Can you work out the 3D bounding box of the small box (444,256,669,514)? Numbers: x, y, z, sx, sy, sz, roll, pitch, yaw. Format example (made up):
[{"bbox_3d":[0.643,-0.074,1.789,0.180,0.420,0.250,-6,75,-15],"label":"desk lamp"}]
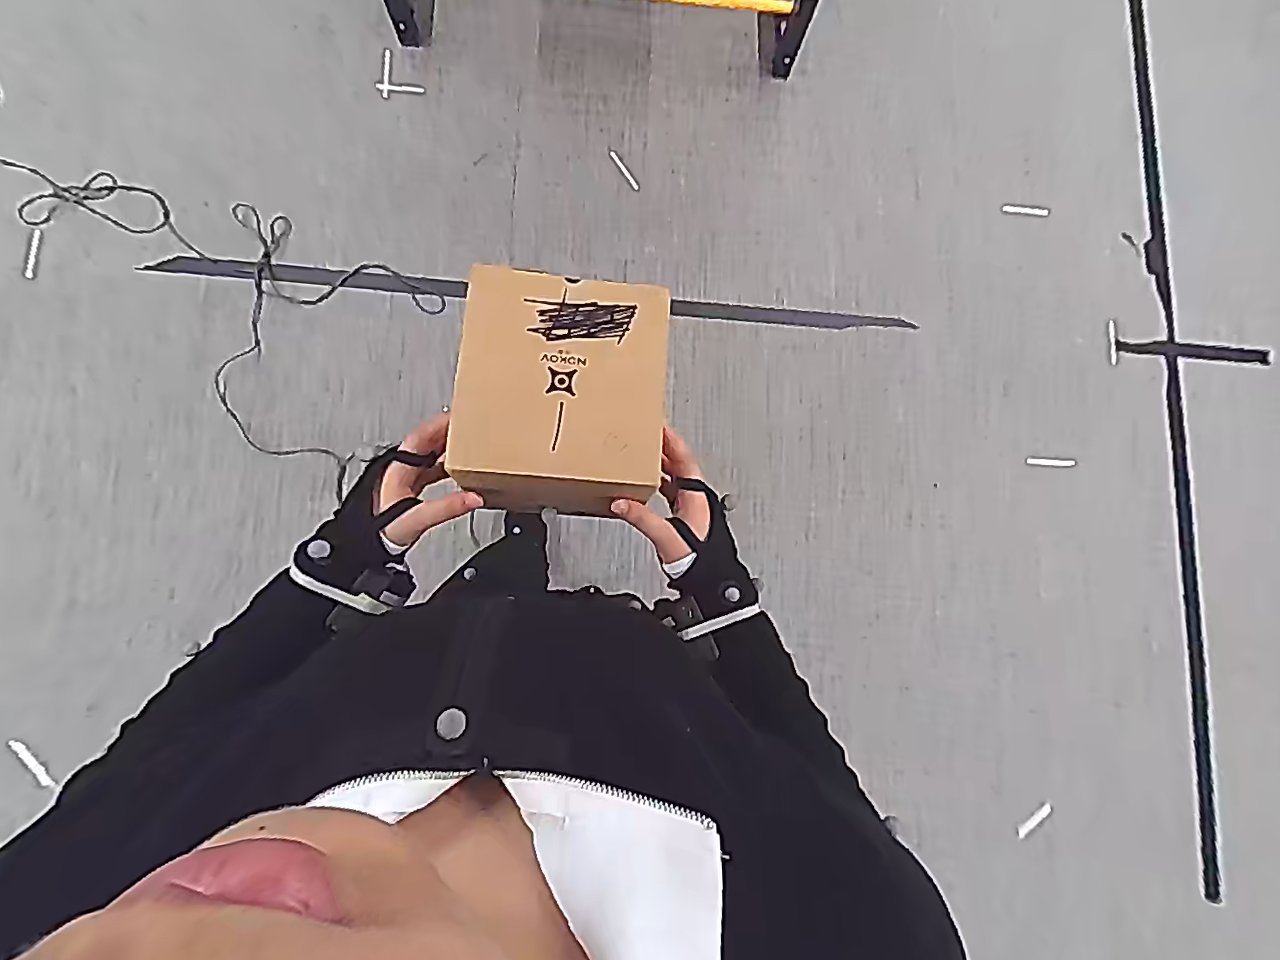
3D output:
[{"bbox_3d":[-0.072,-0.074,0.506,0.168,0.176,0.179,5,76,-6],"label":"small box"}]
